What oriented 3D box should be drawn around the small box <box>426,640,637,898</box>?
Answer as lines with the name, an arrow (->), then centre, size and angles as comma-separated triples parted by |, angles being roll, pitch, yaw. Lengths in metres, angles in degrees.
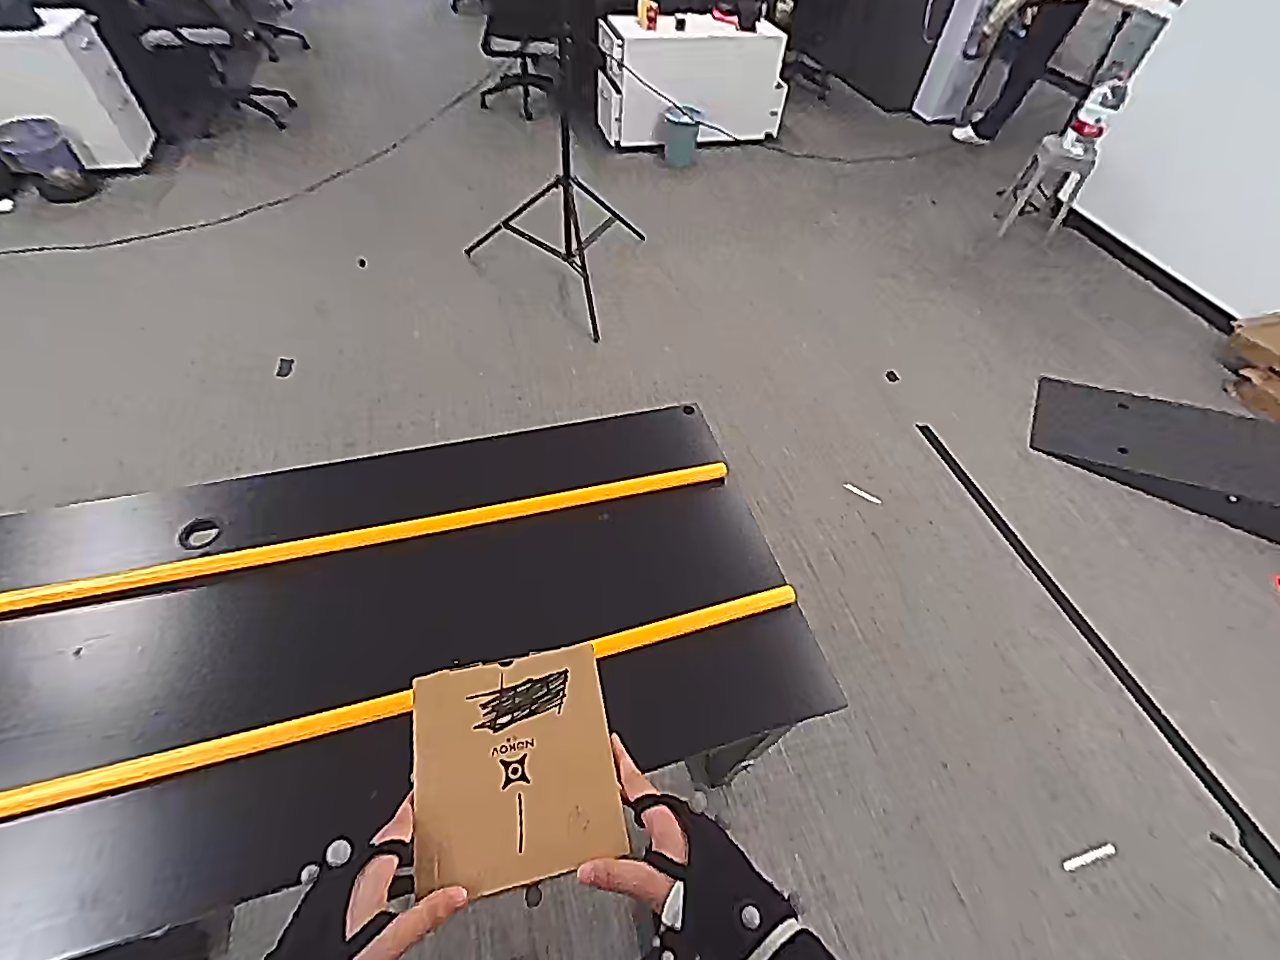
small box -> -0.105, 0.281, 0.531 | 0.168, 0.176, 0.179 | -8, 56, -10
